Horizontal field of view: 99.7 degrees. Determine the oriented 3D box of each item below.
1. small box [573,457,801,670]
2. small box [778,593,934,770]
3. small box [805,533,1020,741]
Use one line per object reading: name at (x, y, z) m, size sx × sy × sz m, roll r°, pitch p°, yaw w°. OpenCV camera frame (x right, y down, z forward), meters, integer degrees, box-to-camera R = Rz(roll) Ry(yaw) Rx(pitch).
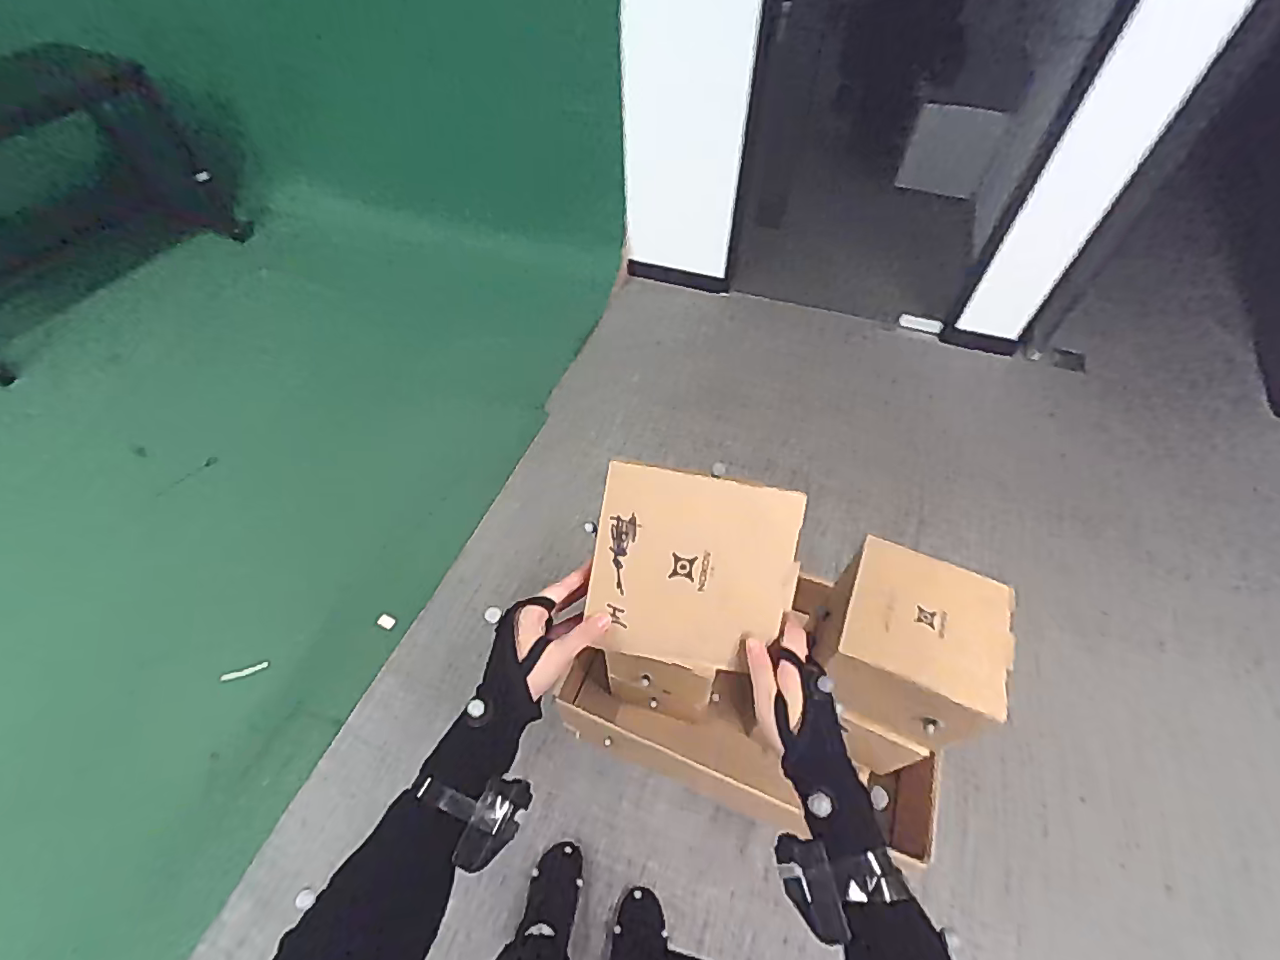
small box at (0.038, 0.070, 0.547) m, size 0.179 × 0.176 × 0.168 m, roll 10°, pitch 92°, yaw -2°
small box at (0.319, 0.302, 0.797) m, size 0.179 × 0.176 × 0.168 m, roll 22°, pitch 57°, yaw 15°
small box at (0.326, 0.200, 0.669) m, size 0.179 × 0.176 × 0.168 m, roll 21°, pitch 56°, yaw 16°
